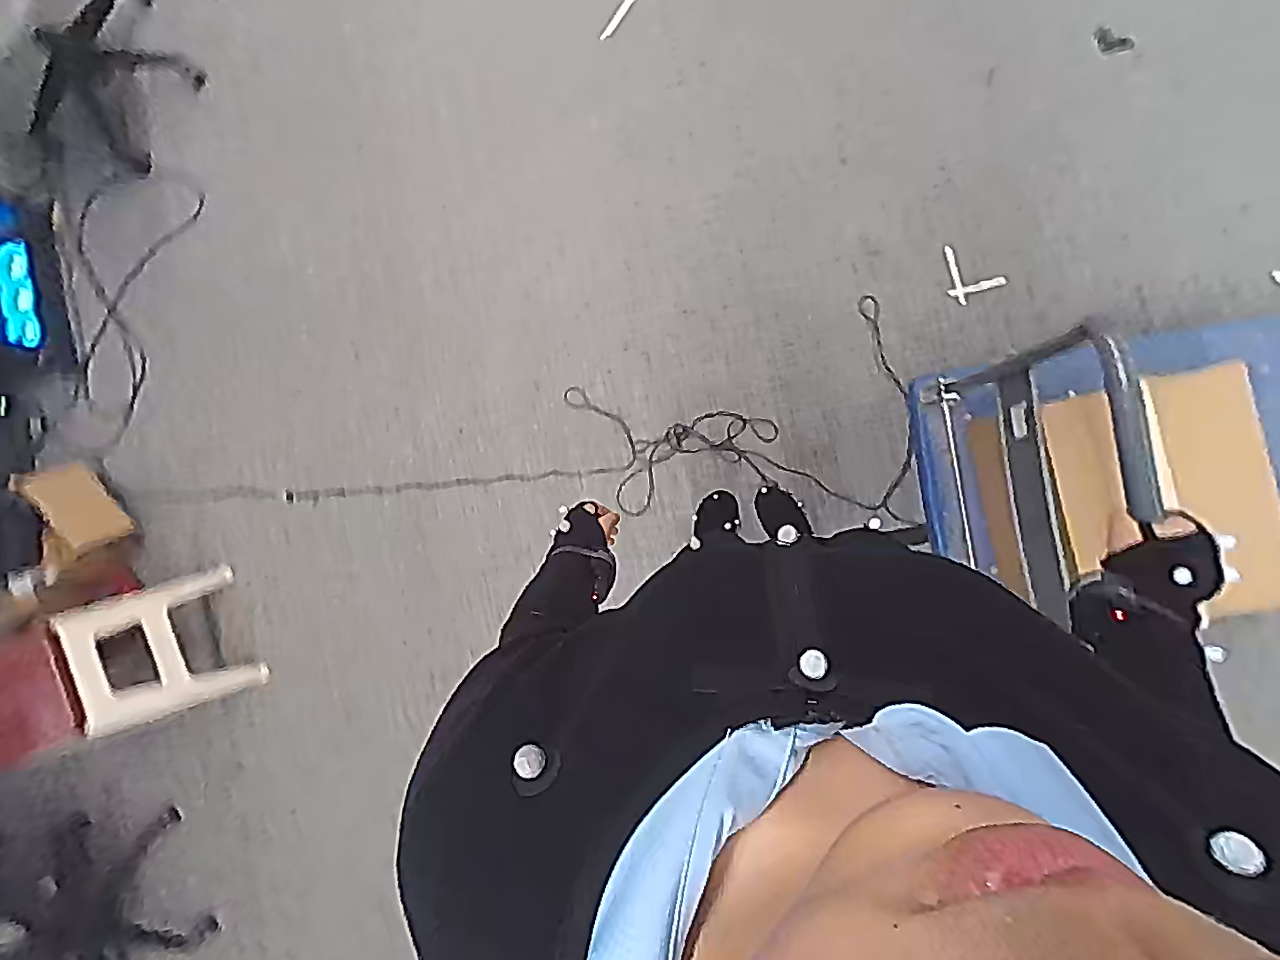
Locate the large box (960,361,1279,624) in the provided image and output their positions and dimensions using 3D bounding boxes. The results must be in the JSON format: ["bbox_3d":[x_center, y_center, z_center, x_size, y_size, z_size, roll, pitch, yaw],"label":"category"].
[{"bbox_3d":[0.898,0.023,1.067,0.320,0.320,0.408,-13,89,10],"label":"large box"}]
